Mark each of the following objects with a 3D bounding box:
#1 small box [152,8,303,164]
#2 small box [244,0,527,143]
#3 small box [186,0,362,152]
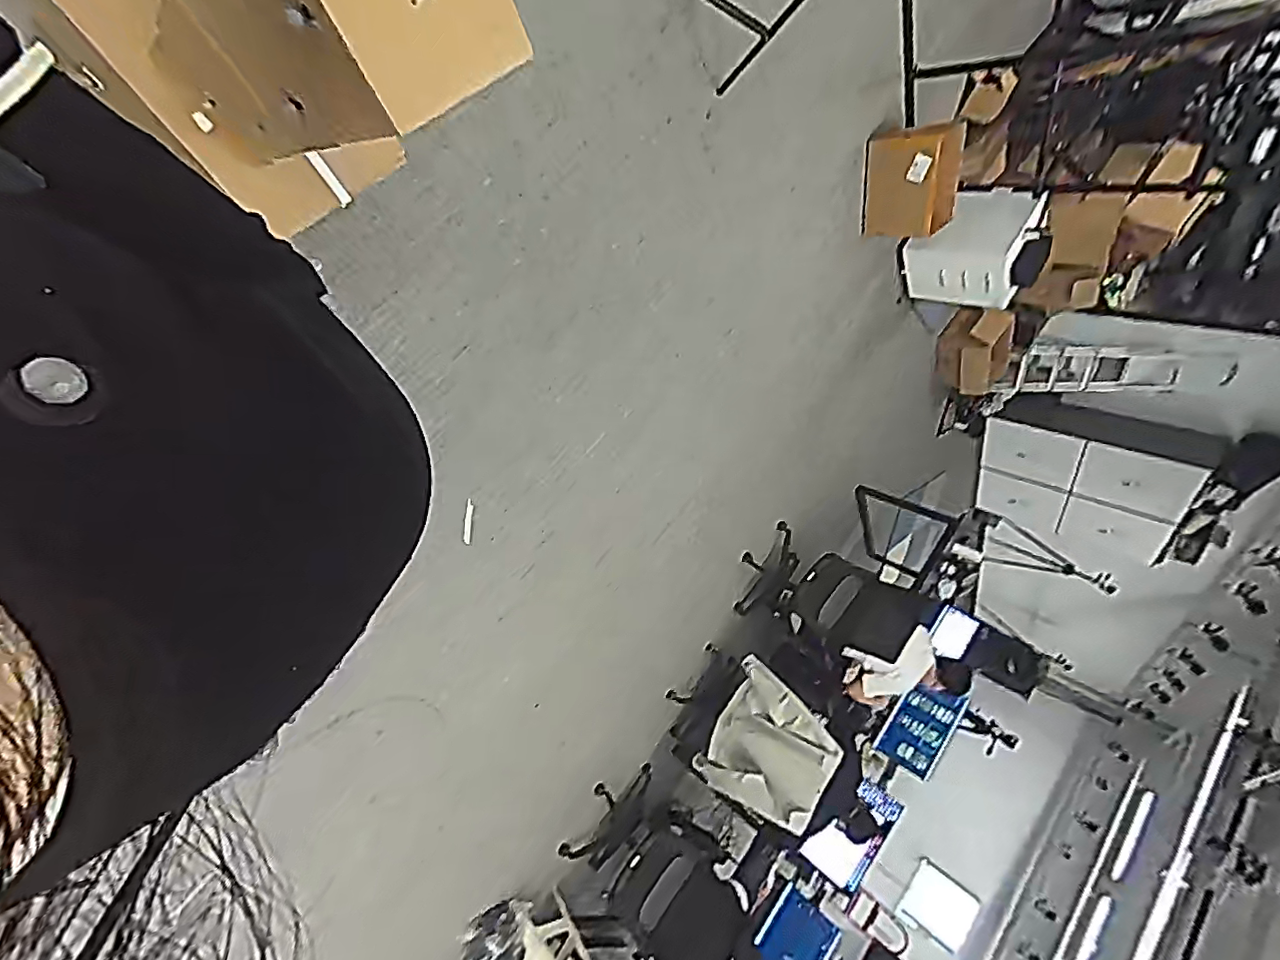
[{"bbox_3d":[-0.580,-0.603,0.814,0.168,0.176,0.179,-49,139,-15],"label":"small box"},{"bbox_3d":[-0.243,-0.439,0.496,0.168,0.176,0.179,-46,137,-18],"label":"small box"},{"bbox_3d":[-0.354,-0.494,0.600,0.168,0.176,0.179,-47,137,-18],"label":"small box"}]
